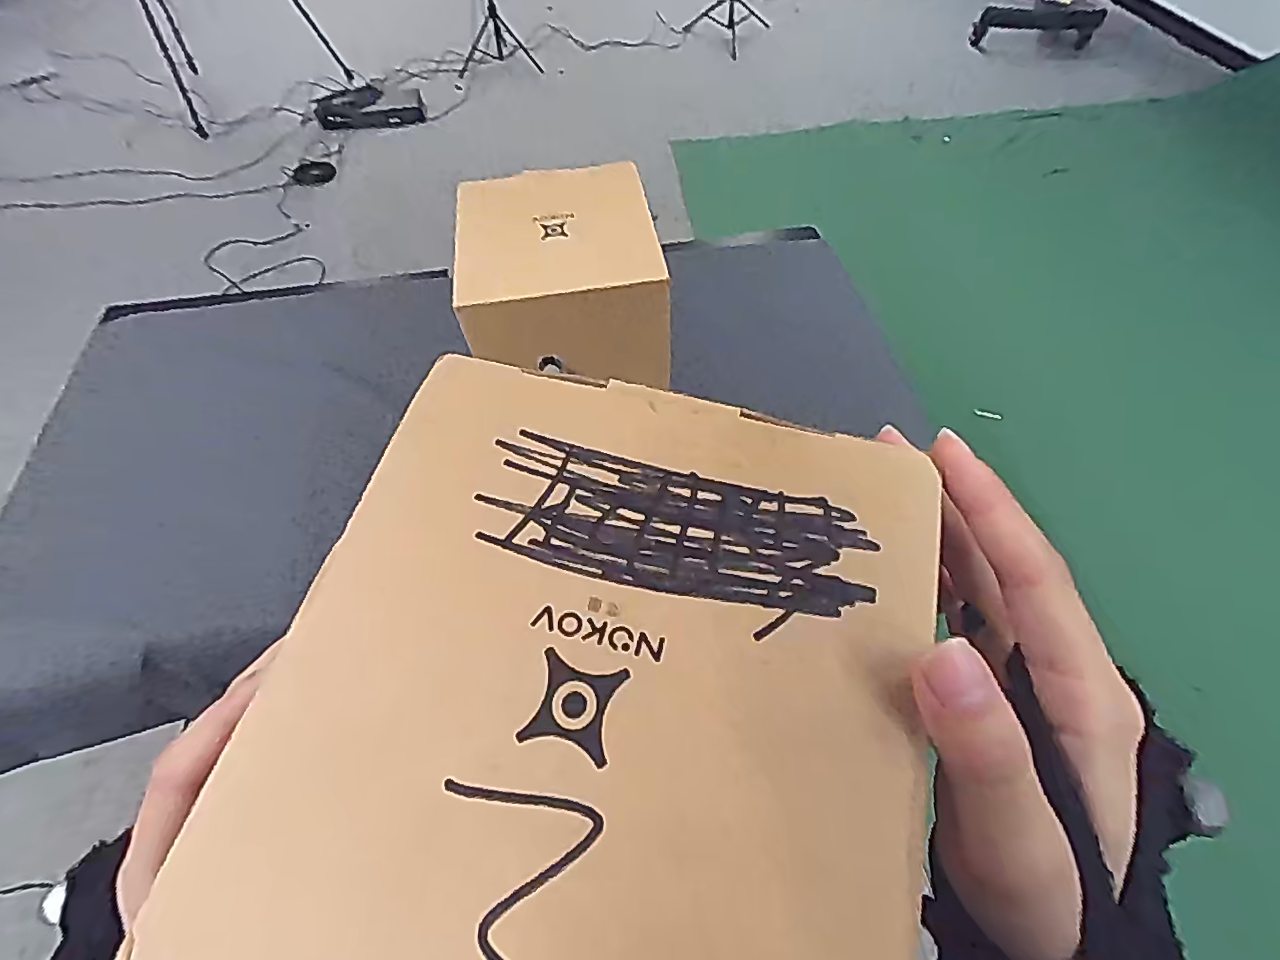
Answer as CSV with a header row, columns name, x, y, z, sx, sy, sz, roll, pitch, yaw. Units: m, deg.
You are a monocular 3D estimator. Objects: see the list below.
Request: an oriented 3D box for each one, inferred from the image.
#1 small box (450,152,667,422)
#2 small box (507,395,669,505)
name,x,y,z,sx,sy,sz,roll,pitch,yaw
small box,-0.068,-0.170,0.511,0.168,0.176,0.179,-10,57,-3
small box,-0.061,-0.092,0.653,0.168,0.176,0.179,-9,59,-3
